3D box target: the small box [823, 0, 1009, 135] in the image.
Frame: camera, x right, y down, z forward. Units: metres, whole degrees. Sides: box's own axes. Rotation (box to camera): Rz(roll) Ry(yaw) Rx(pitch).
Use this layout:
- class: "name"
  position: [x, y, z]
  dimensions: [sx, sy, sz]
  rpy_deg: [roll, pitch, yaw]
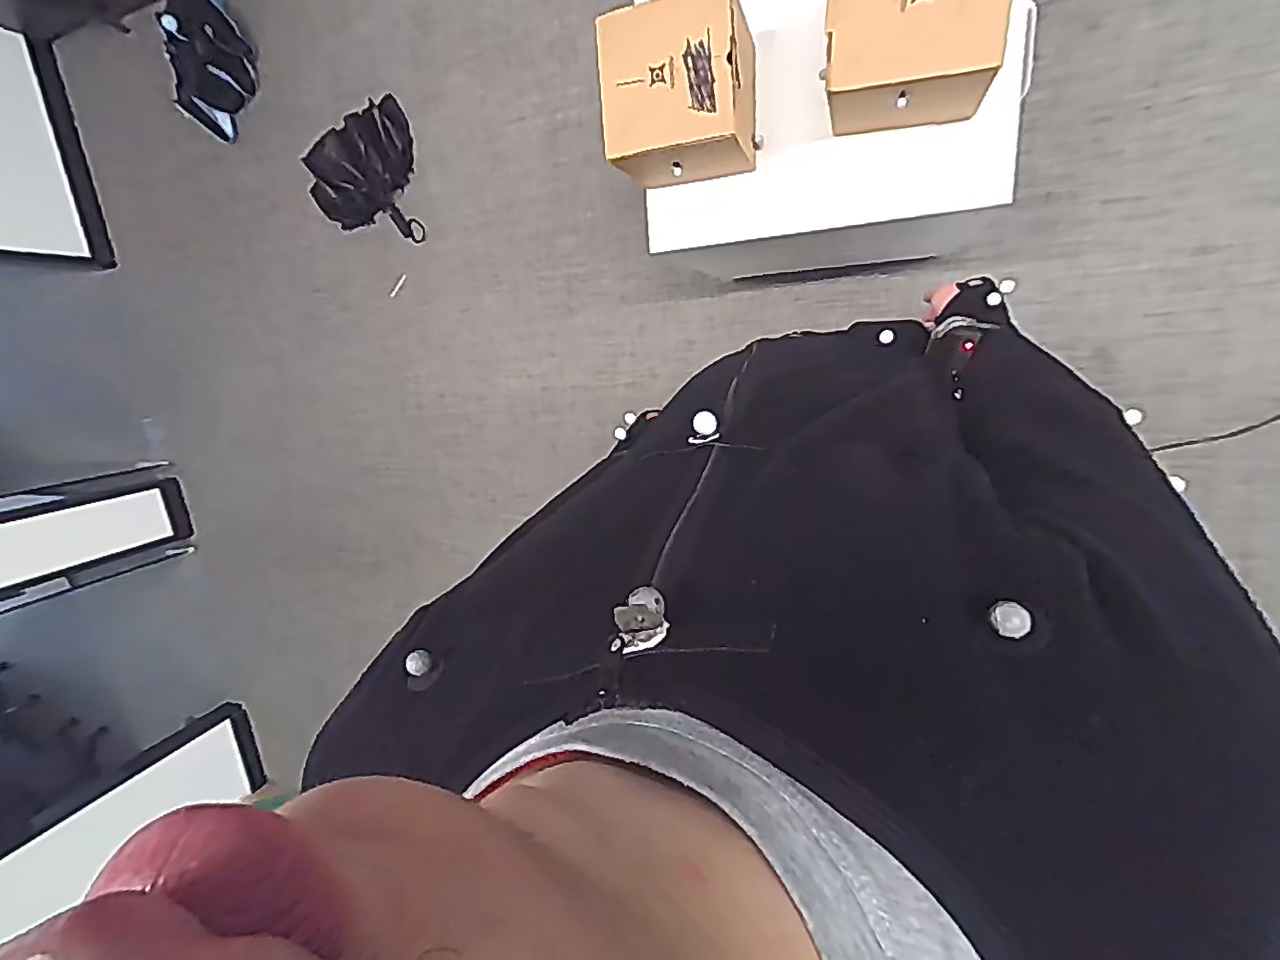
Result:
- class: "small box"
  position: [0.320, -0.530, 0.638]
  dimensions: [0.179, 0.176, 0.168]
  rpy_deg: [6, 108, 20]

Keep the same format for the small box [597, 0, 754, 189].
- class: "small box"
  position: [0.059, -0.519, 0.744]
  dimensions: [0.179, 0.176, 0.168]
  rpy_deg: [2, 105, 22]
